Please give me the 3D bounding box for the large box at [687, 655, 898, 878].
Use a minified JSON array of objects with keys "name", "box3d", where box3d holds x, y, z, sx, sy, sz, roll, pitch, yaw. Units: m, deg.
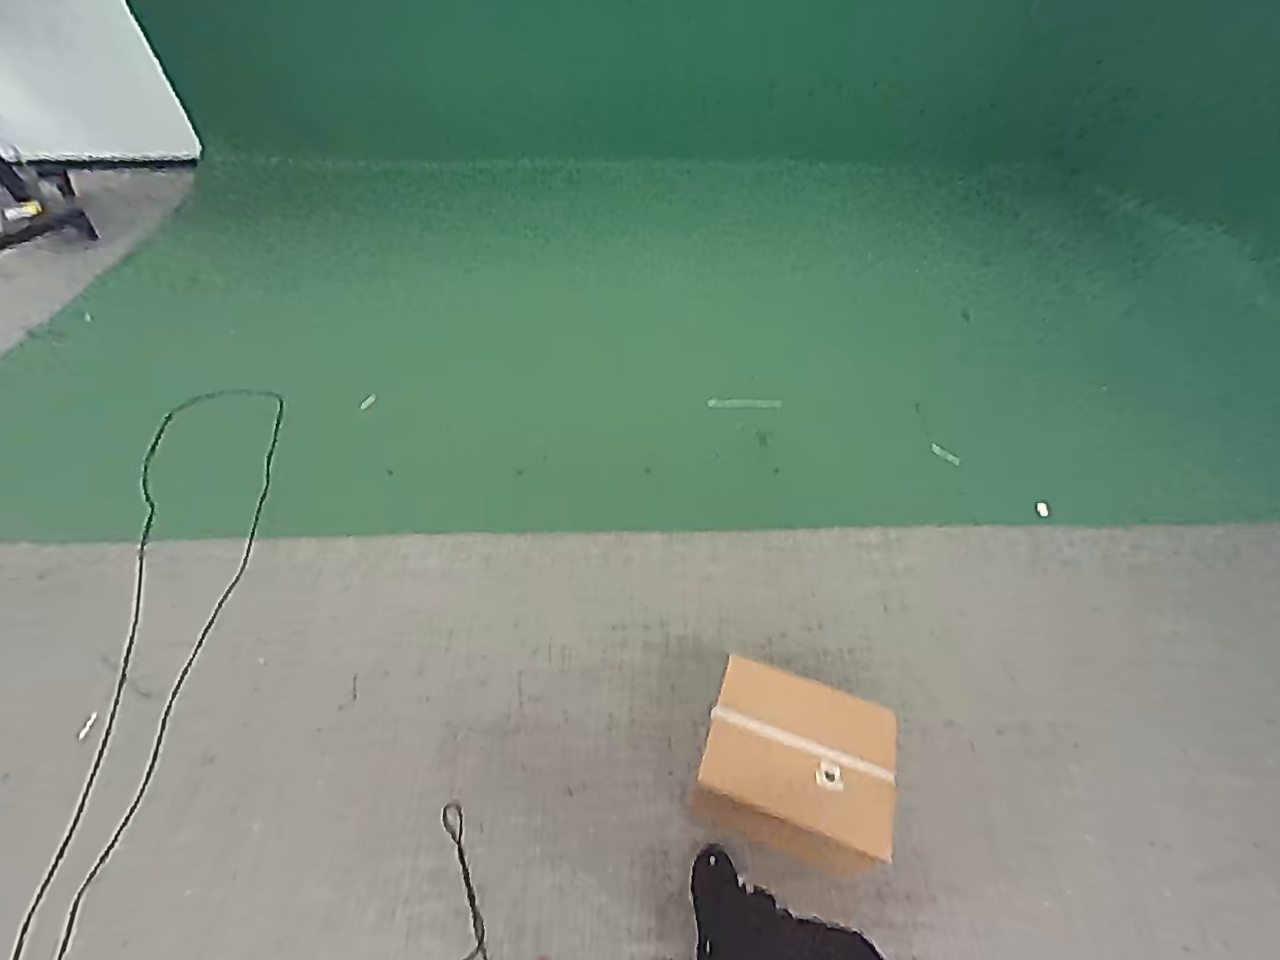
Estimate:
[{"name":"large box","box3d":[0.359,0.693,1.316,0.408,0.320,0.320,17,49,13]}]
